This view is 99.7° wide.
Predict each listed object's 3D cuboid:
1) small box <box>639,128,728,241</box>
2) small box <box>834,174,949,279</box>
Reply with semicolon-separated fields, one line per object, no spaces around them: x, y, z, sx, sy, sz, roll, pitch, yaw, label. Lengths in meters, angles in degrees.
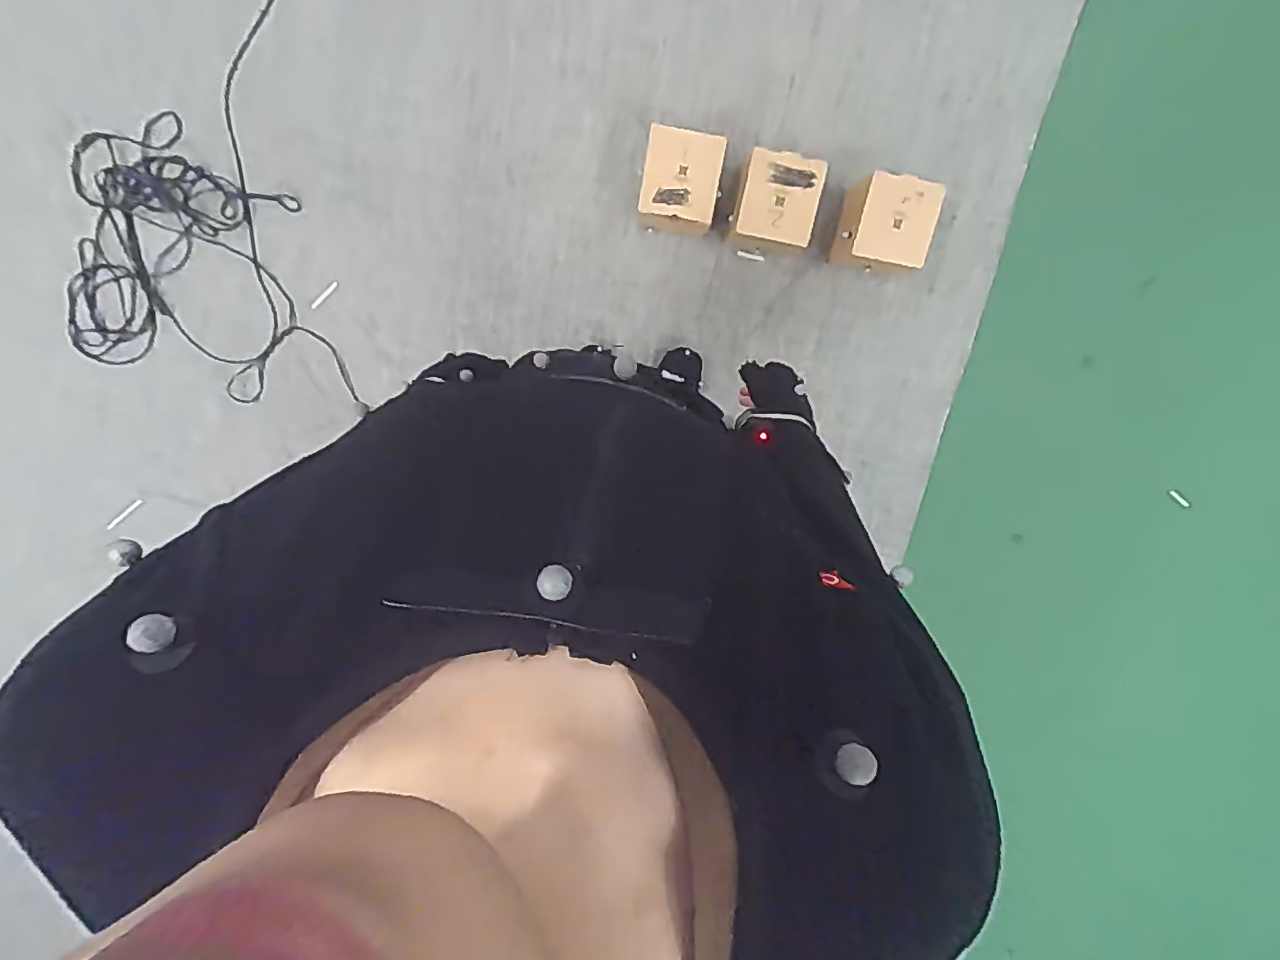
0.095;-0.663;1.237;0.168;0.176;0.179;10;103;-1;small box
0.568;-0.574;1.251;0.168;0.176;0.179;11;104;-2;small box
